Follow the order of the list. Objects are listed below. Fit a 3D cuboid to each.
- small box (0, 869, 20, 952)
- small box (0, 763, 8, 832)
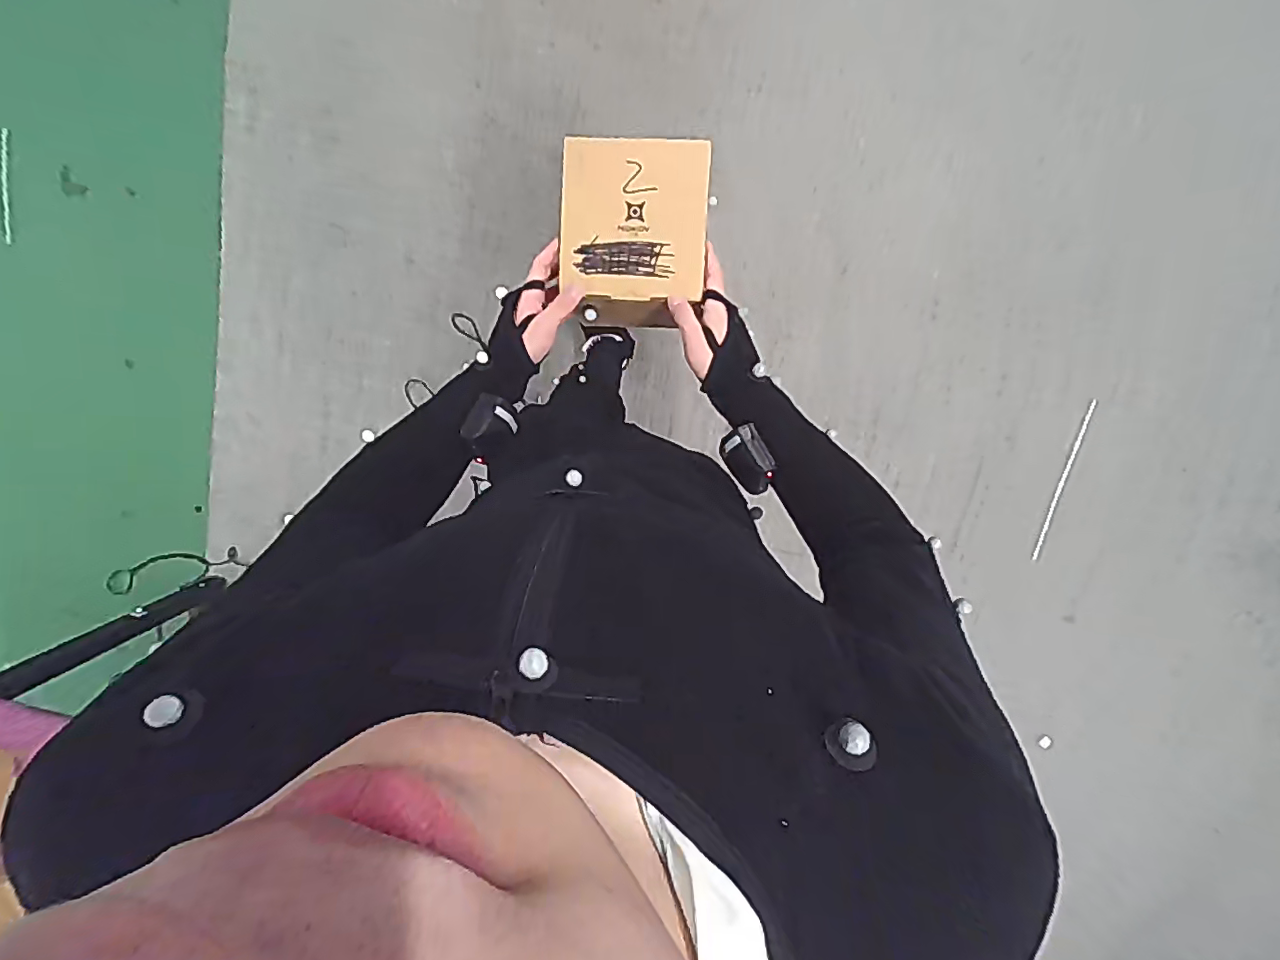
[{"bbox_3d":[-1.393,0.898,1.066,0.168,0.176,0.179,12,102,0],"label":"small box"},{"bbox_3d":[-1.349,0.631,1.005,0.168,0.176,0.179,13,103,-1],"label":"small box"}]
